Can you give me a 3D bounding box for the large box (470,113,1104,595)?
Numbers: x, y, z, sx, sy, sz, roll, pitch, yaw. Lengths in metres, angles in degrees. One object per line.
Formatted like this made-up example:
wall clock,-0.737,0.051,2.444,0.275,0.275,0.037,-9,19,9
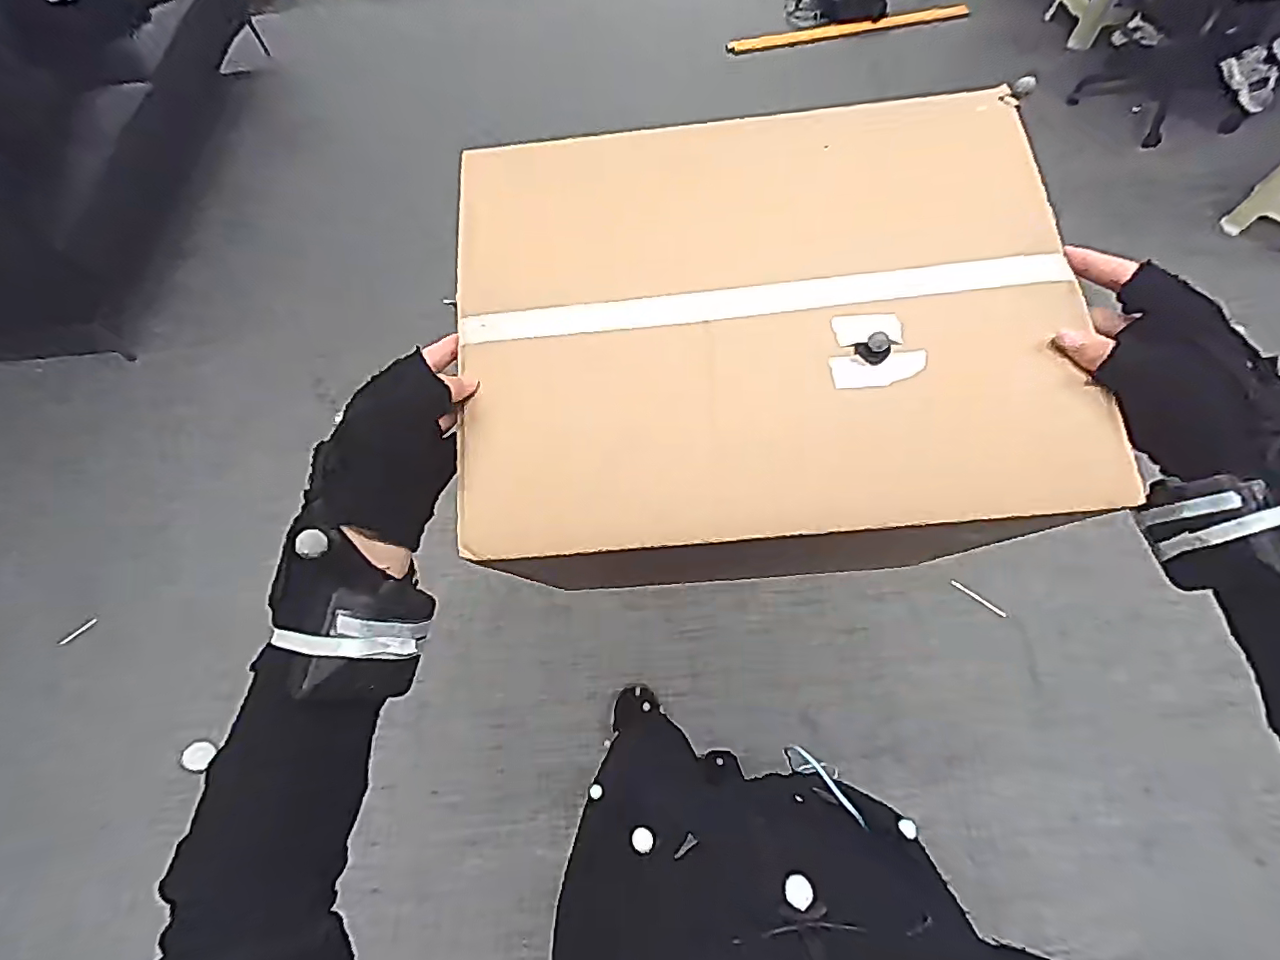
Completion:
large box,0.085,-0.073,0.523,0.408,0.320,0.320,-6,75,3
